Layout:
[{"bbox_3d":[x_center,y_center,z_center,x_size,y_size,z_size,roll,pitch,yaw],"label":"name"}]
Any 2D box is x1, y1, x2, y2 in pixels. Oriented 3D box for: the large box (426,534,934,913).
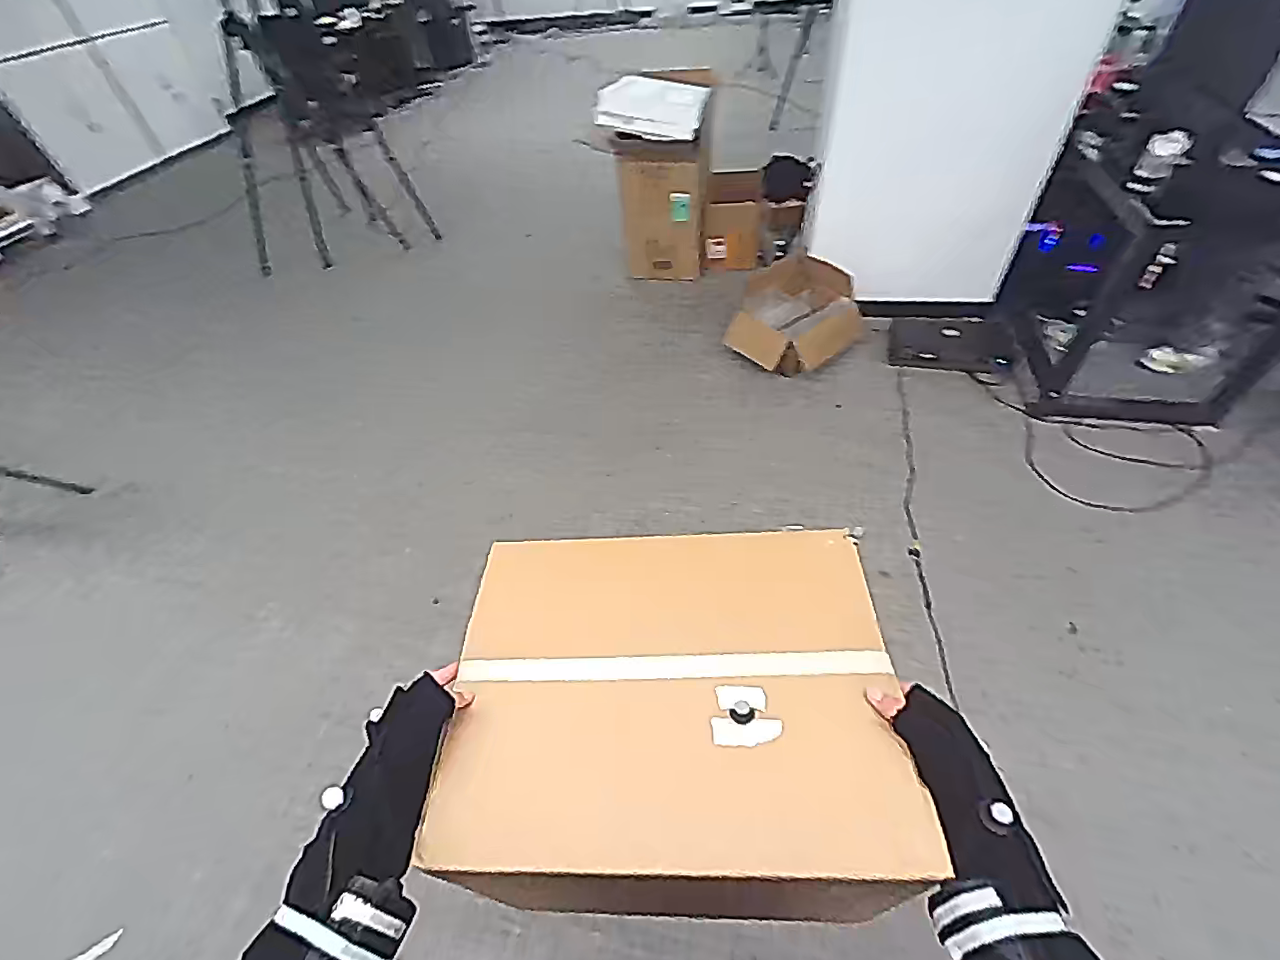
[{"bbox_3d":[0.039,0.284,0.624,0.408,0.320,0.320,-3,46,5],"label":"large box"}]
